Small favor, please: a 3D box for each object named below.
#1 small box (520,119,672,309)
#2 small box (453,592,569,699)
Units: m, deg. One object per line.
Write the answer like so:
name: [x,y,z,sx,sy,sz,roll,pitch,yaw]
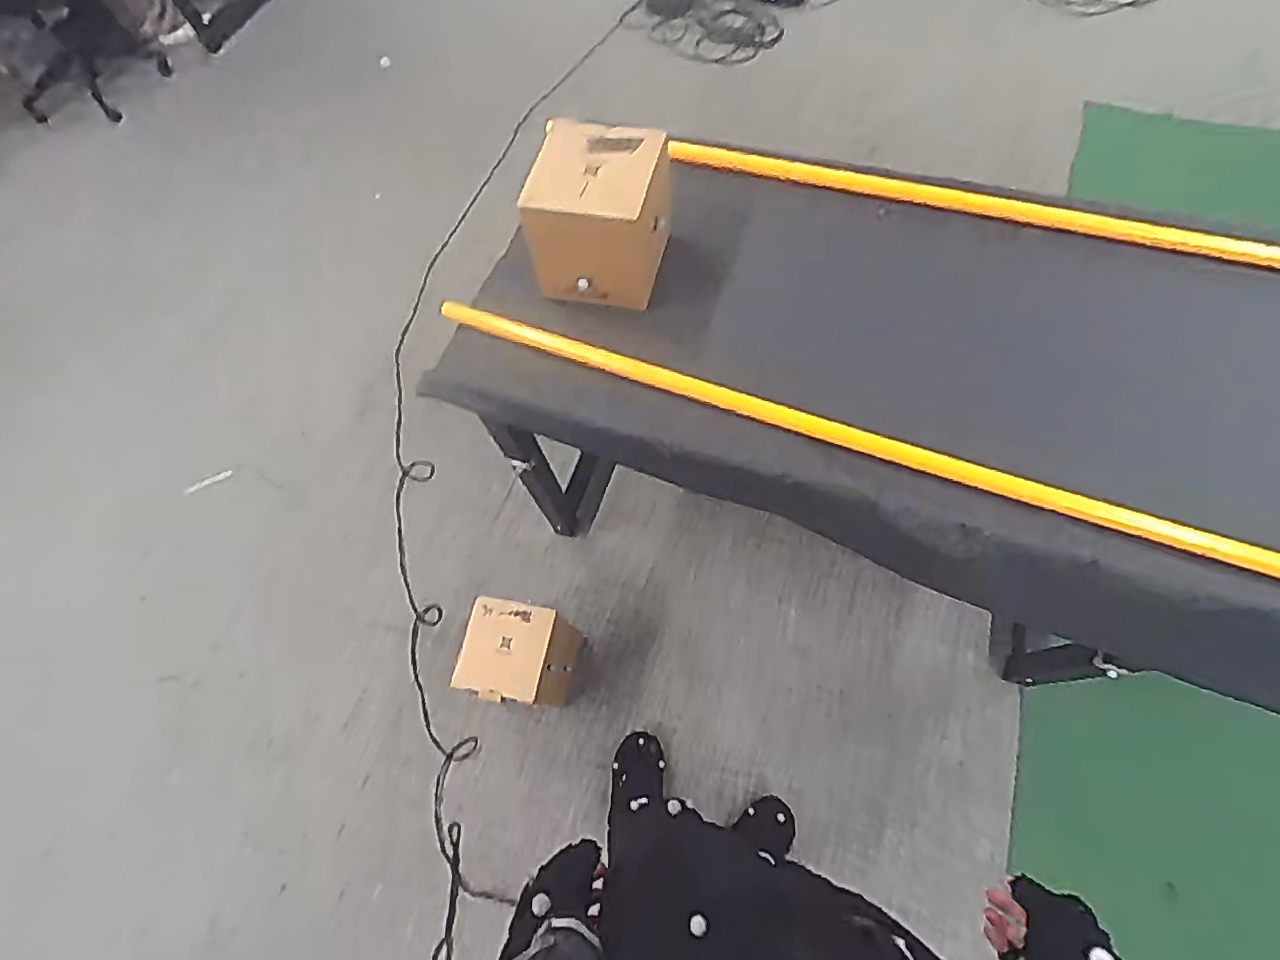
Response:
small box: [-0.053,-0.384,0.792,0.168,0.176,0.179,12,68,9]
small box: [-0.252,0.343,1.106,0.168,0.176,0.179,6,66,8]
